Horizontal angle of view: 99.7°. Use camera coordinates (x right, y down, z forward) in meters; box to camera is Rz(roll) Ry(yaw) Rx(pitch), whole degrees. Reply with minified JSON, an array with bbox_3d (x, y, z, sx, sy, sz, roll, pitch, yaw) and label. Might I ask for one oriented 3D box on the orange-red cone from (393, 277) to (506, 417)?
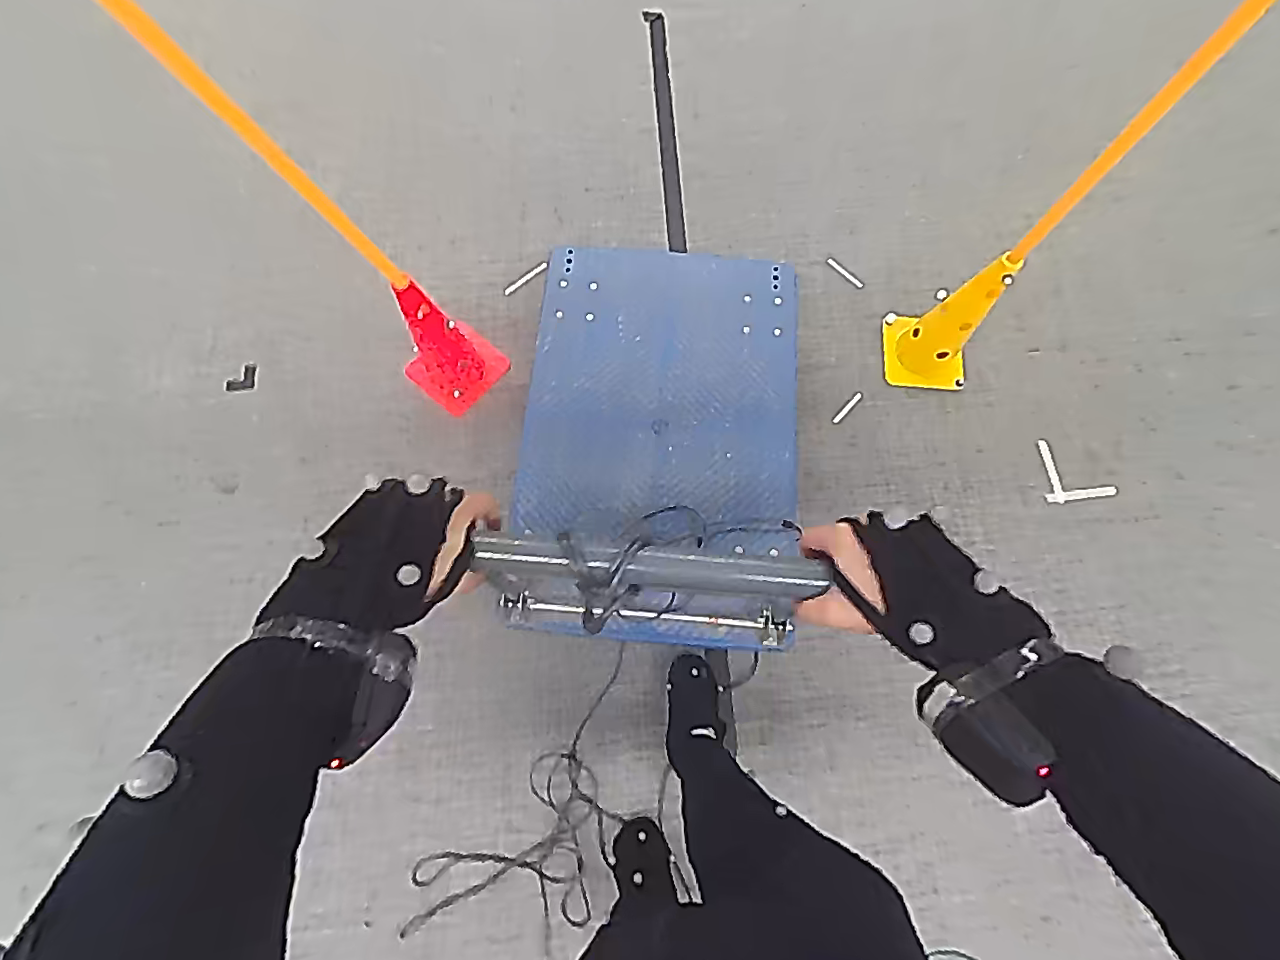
[{"bbox_3d":[-0.457,-0.323,1.195,0.198,0.360,0.199,40,76,9],"label":"orange-red cone"}]
